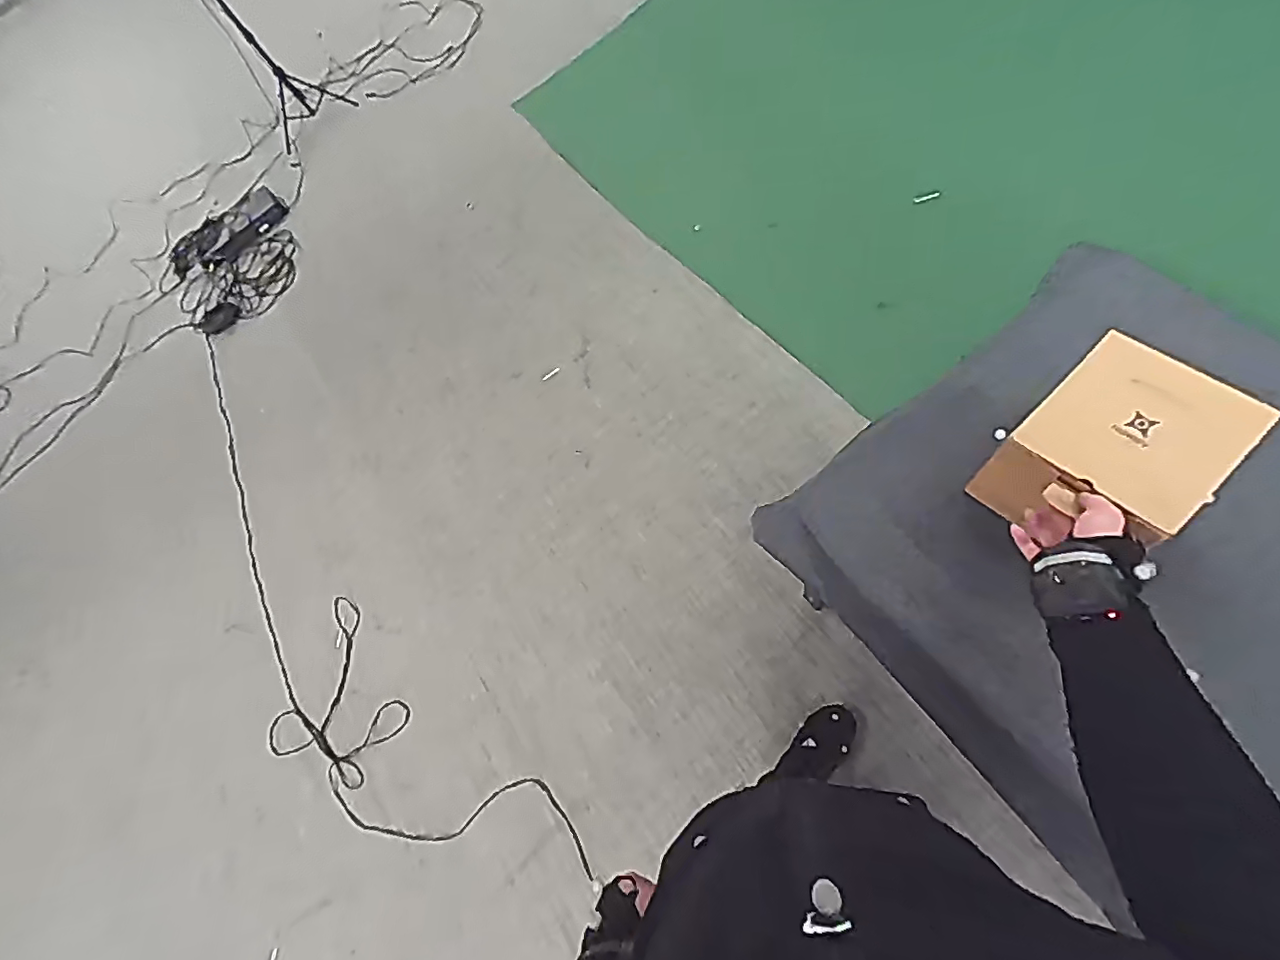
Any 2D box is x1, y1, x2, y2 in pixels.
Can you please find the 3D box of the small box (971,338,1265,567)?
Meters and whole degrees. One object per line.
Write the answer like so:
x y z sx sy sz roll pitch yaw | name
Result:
0.528 -0.021 0.635 0.179 0.176 0.168 -44 66 -6 | small box
